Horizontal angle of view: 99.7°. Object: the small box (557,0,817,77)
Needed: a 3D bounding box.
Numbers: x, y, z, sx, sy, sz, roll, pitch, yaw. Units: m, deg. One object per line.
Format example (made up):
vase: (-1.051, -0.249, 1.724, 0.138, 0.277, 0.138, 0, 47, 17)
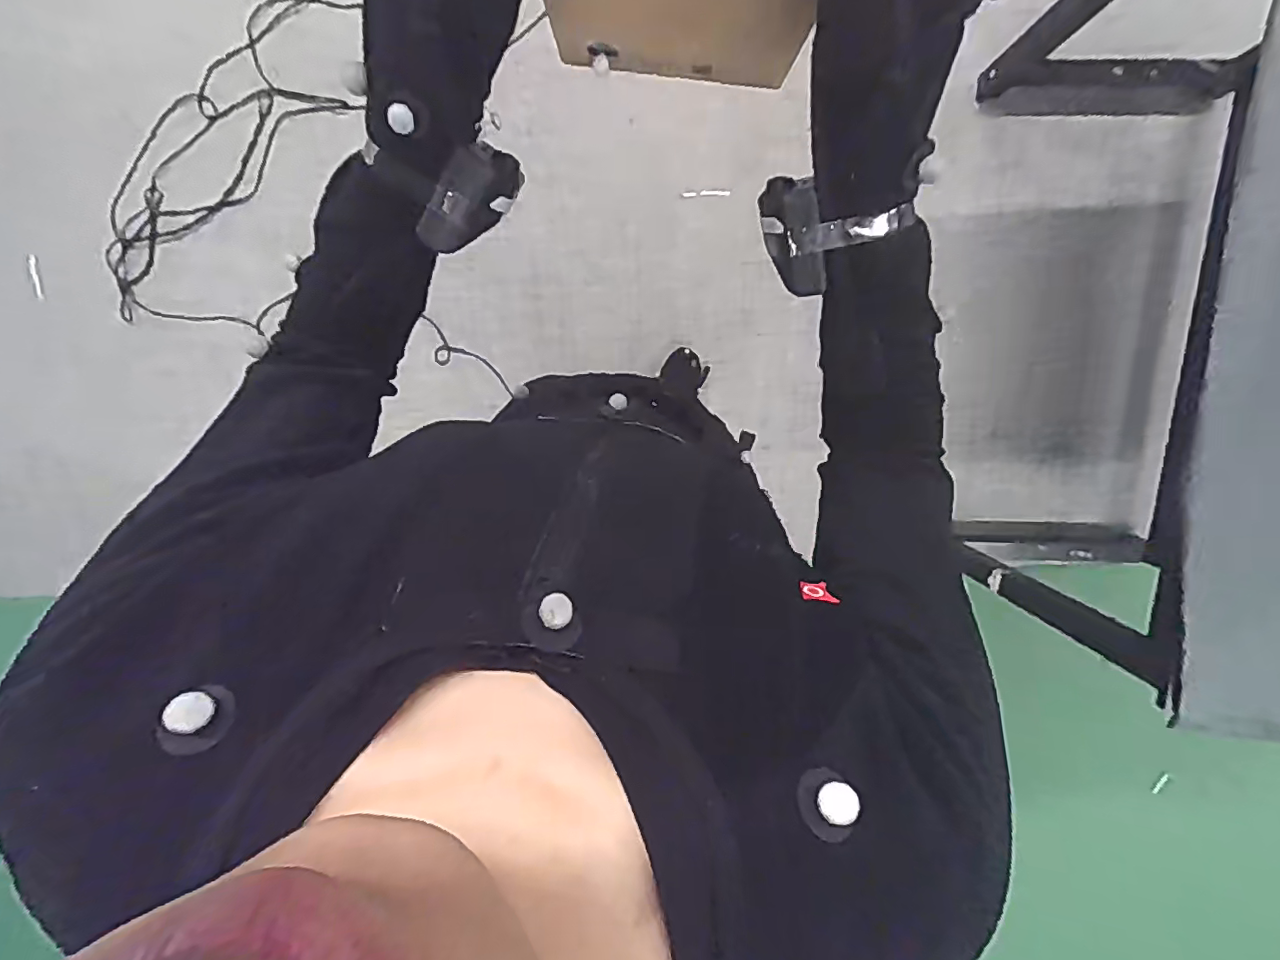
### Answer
small box: (0.034, -0.365, 0.302, 0.168, 0.176, 0.179, 6, 104, -1)
